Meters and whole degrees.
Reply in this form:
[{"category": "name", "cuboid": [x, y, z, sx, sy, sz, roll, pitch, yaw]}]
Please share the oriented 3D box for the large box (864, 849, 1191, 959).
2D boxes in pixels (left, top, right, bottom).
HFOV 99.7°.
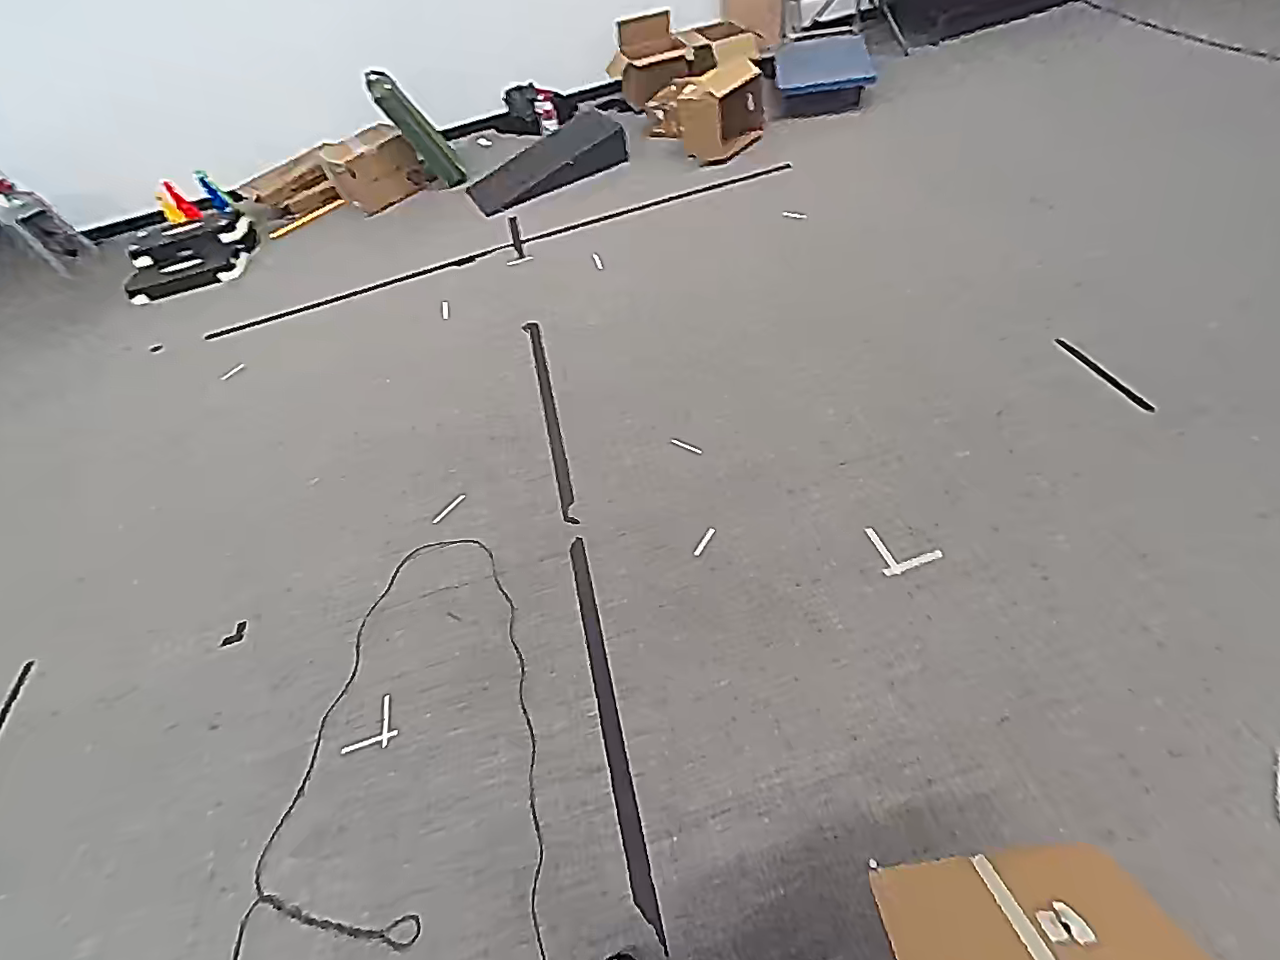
[{"category": "large box", "cuboid": [0.491, 0.705, 0.589, 0.320, 0.408, 0.320, -14, 86, 8]}]
